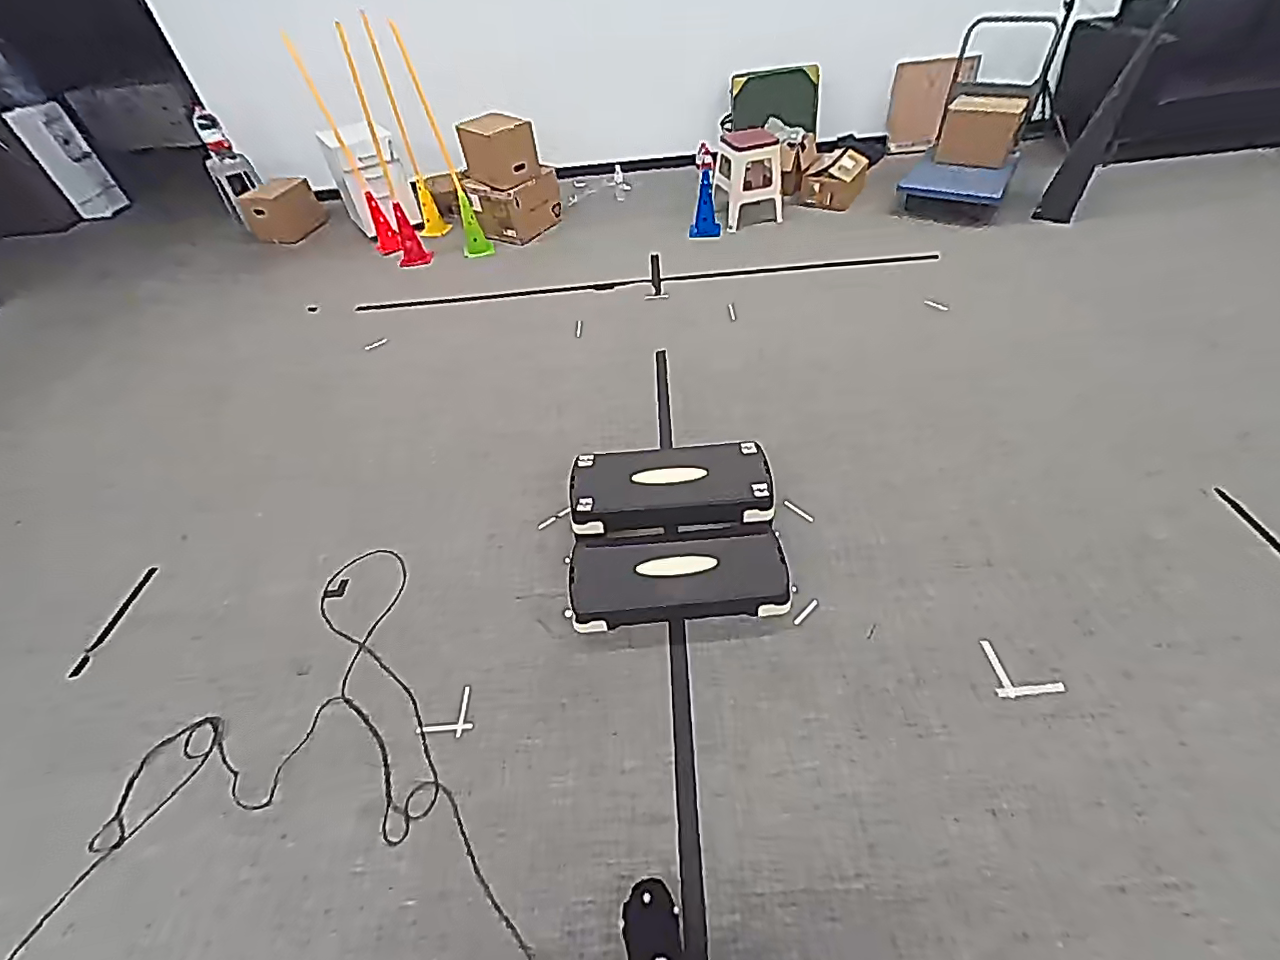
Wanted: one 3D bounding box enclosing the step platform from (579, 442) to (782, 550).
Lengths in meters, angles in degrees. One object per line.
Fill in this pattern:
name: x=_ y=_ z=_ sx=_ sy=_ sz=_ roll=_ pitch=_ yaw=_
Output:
step platform: x=0.134 y=0.049 z=1.858 sx=0.684 sy=0.204 sz=0.286 roll=-5 pitch=46 yaw=1
